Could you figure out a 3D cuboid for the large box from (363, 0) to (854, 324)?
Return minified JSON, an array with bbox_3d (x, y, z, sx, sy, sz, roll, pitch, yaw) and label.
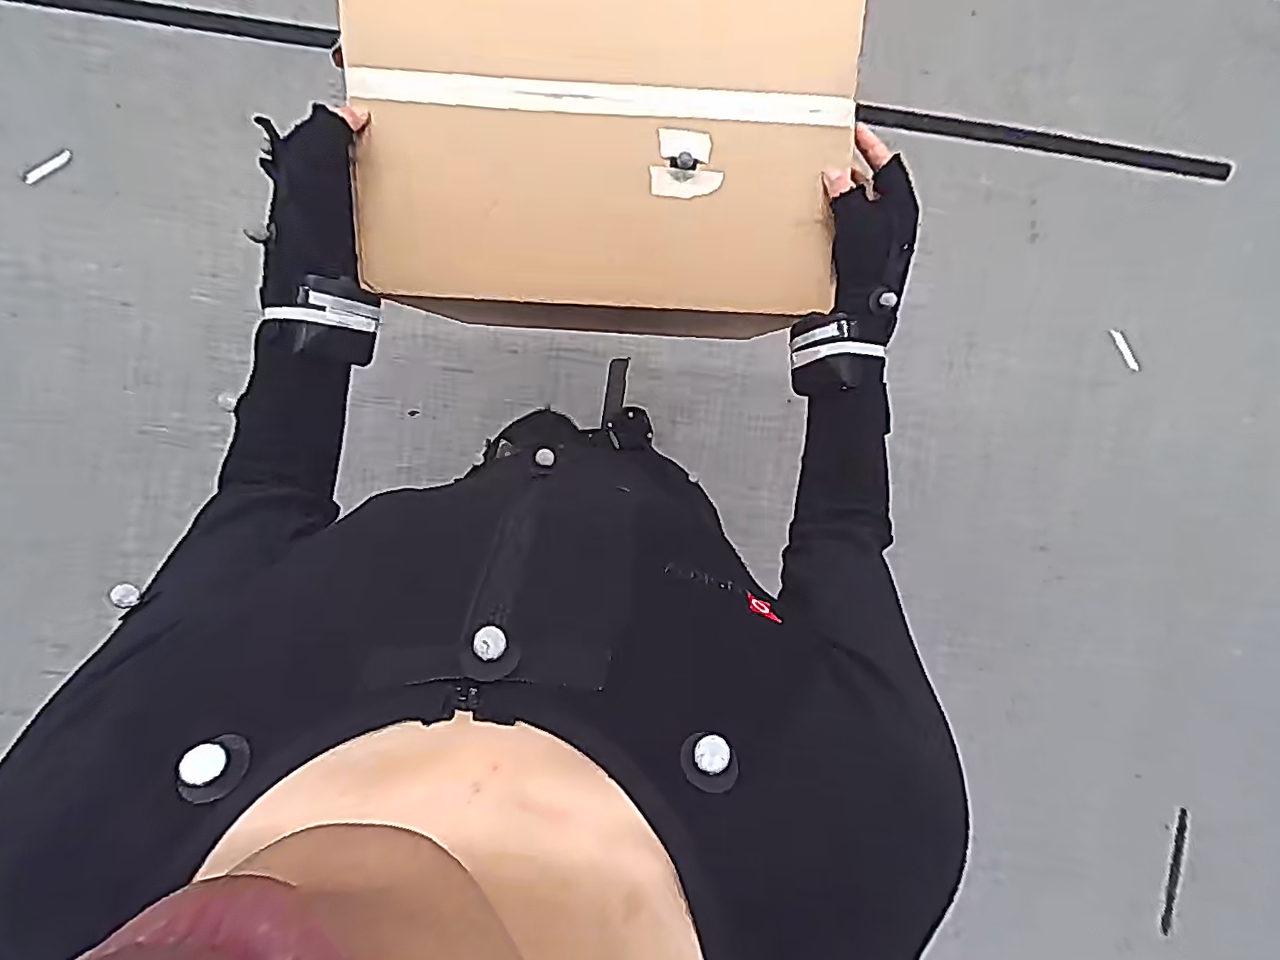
[{"bbox_3d":[-0.032,-0.347,0.594,0.408,0.320,0.320,2,102,-3],"label":"large box"}]
